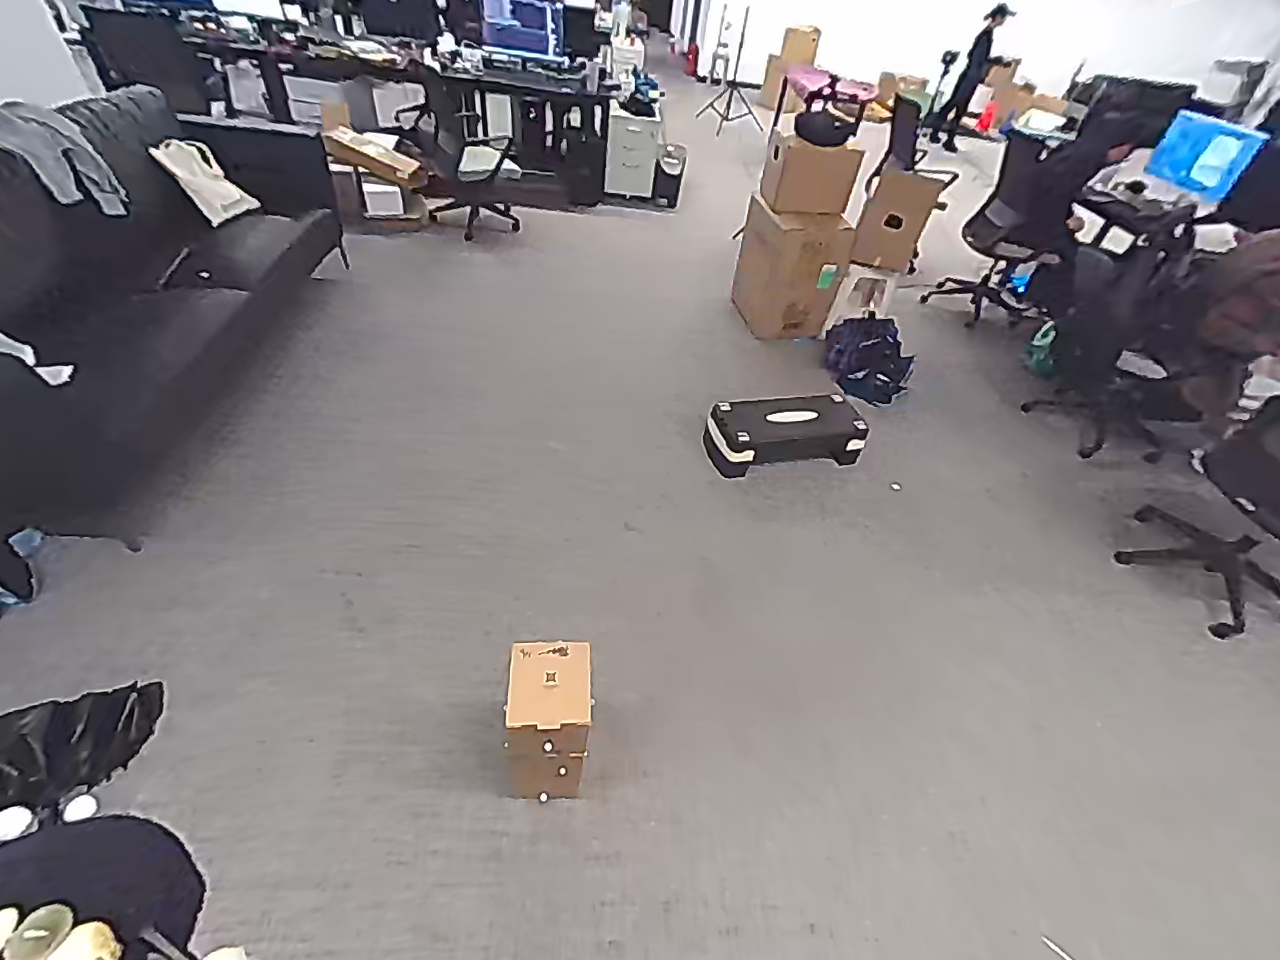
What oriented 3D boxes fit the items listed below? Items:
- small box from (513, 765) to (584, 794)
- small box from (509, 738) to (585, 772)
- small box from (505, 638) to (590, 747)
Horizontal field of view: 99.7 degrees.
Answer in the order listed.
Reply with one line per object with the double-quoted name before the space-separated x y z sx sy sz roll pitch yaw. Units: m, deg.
"small box" -0.226 0.681 1.380 0.168 0.176 0.179 2 46 -5
"small box" -0.210 0.569 1.265 0.168 0.176 0.179 2 44 -7
"small box" -0.191 0.455 1.149 0.168 0.176 0.179 1 47 -8
